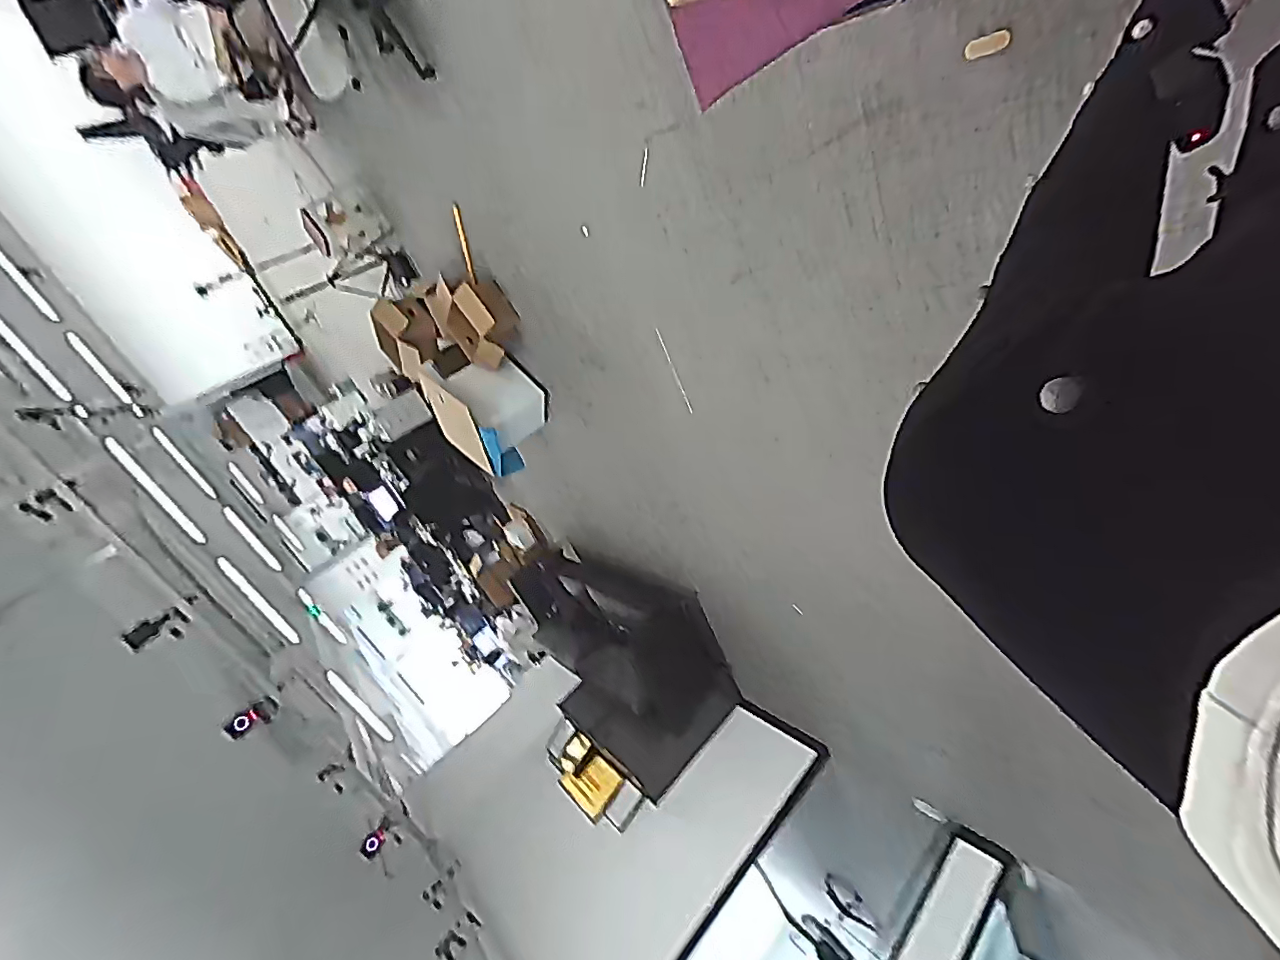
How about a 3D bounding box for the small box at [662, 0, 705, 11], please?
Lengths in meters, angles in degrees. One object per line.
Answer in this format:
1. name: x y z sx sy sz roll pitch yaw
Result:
1. small box: 0.107 -0.747 0.677 0.168 0.176 0.179 8 129 54
